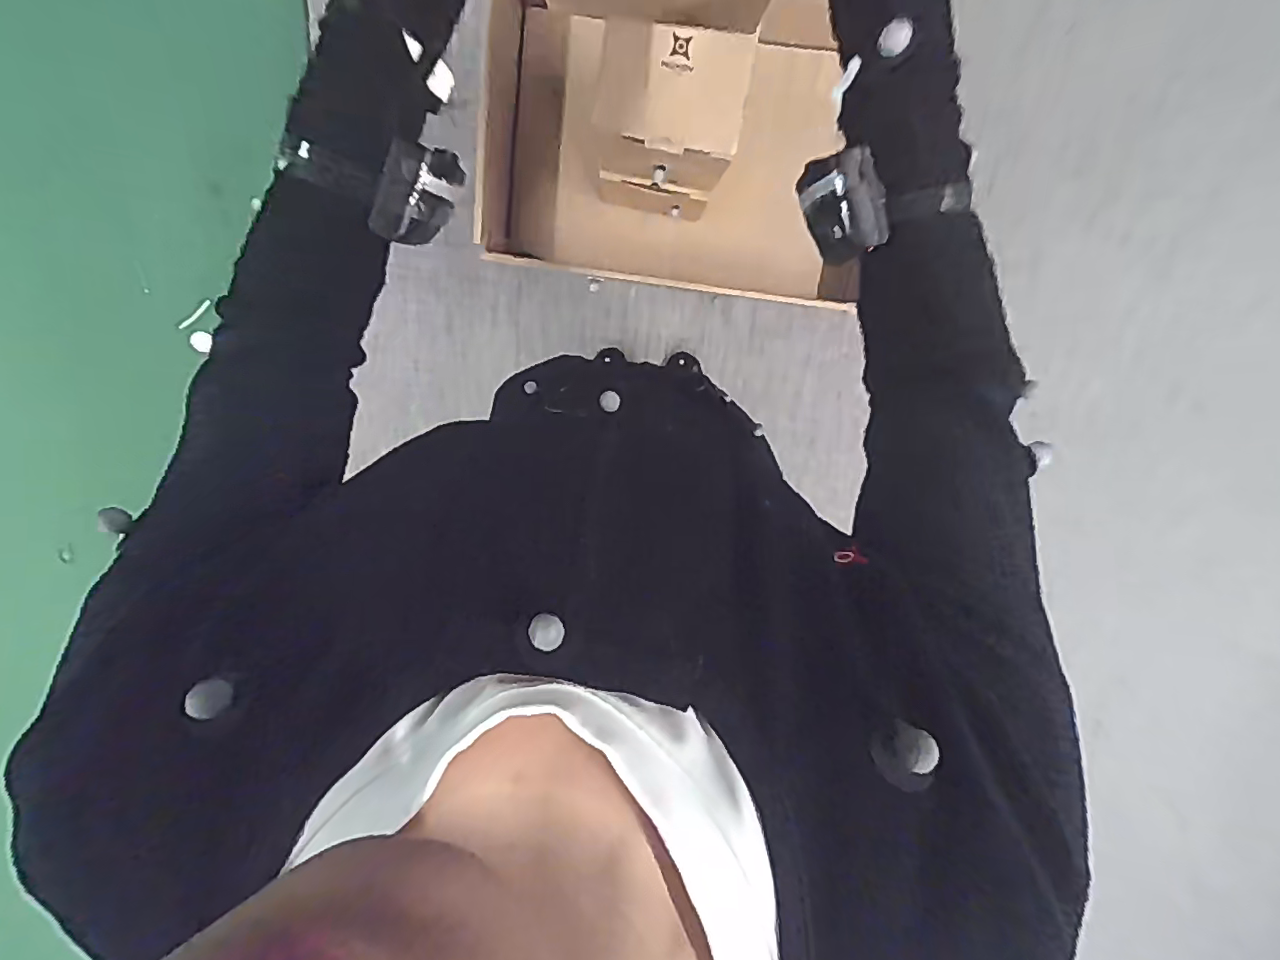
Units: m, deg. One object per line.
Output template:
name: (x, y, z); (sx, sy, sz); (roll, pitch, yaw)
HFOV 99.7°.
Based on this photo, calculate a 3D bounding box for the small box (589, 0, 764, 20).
small box: (0.019, -0.431, 0.340); (0.179, 0.176, 0.168); (6, 110, -2)

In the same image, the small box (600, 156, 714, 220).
small box: (0.037, -0.514, 0.823); (0.168, 0.176, 0.179); (10, 104, -4)

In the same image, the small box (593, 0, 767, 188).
small box: (0.042, -0.479, 0.663); (0.168, 0.176, 0.179); (9, 107, -4)
